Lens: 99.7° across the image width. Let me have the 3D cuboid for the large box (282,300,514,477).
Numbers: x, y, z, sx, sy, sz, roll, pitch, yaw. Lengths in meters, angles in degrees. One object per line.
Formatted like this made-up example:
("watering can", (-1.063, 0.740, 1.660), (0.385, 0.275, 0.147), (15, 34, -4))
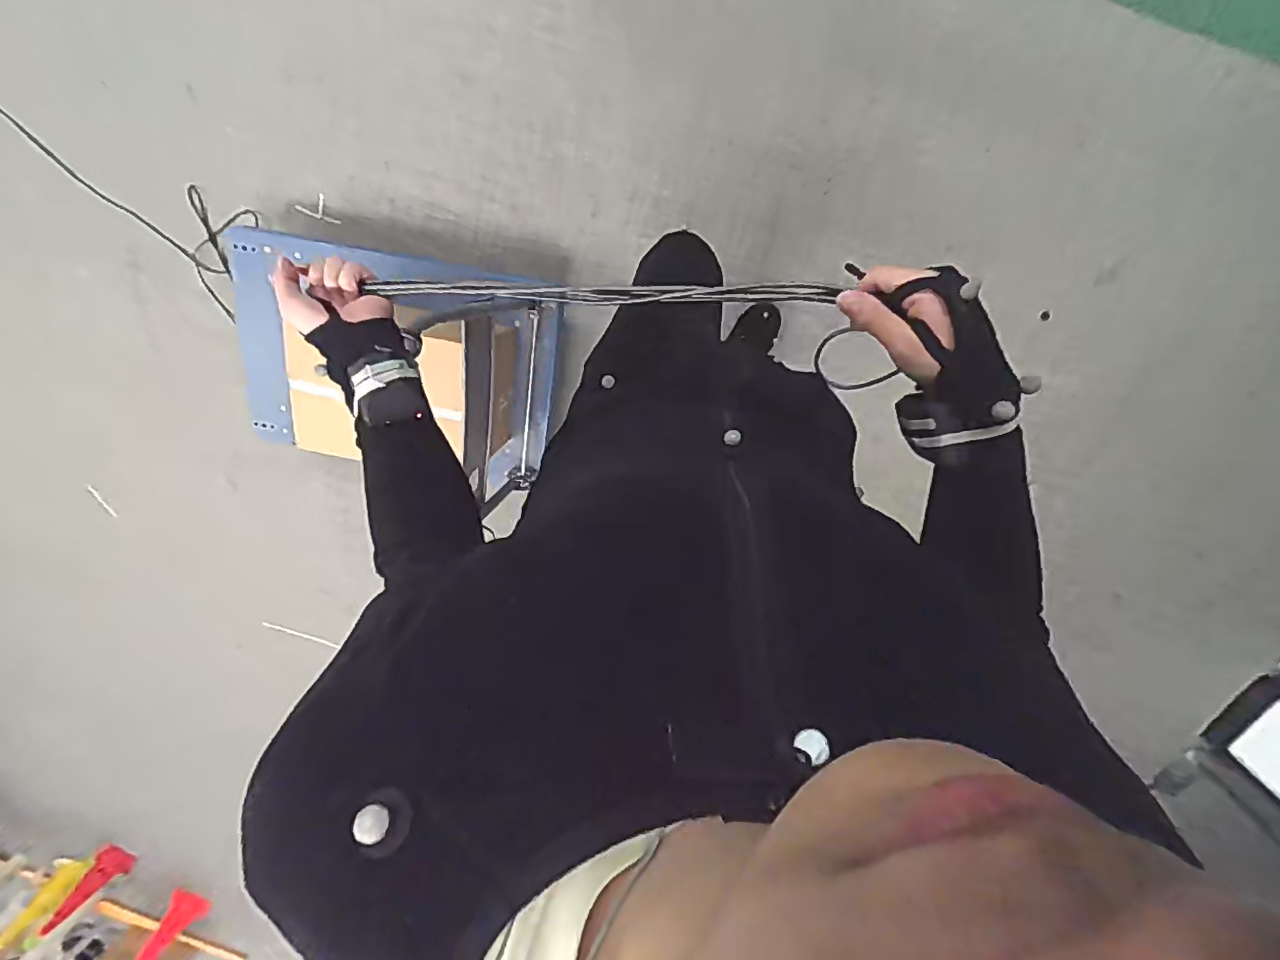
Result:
("large box", (-0.548, -0.234, 1.297), (0.408, 0.320, 0.320), (11, 112, 3))
